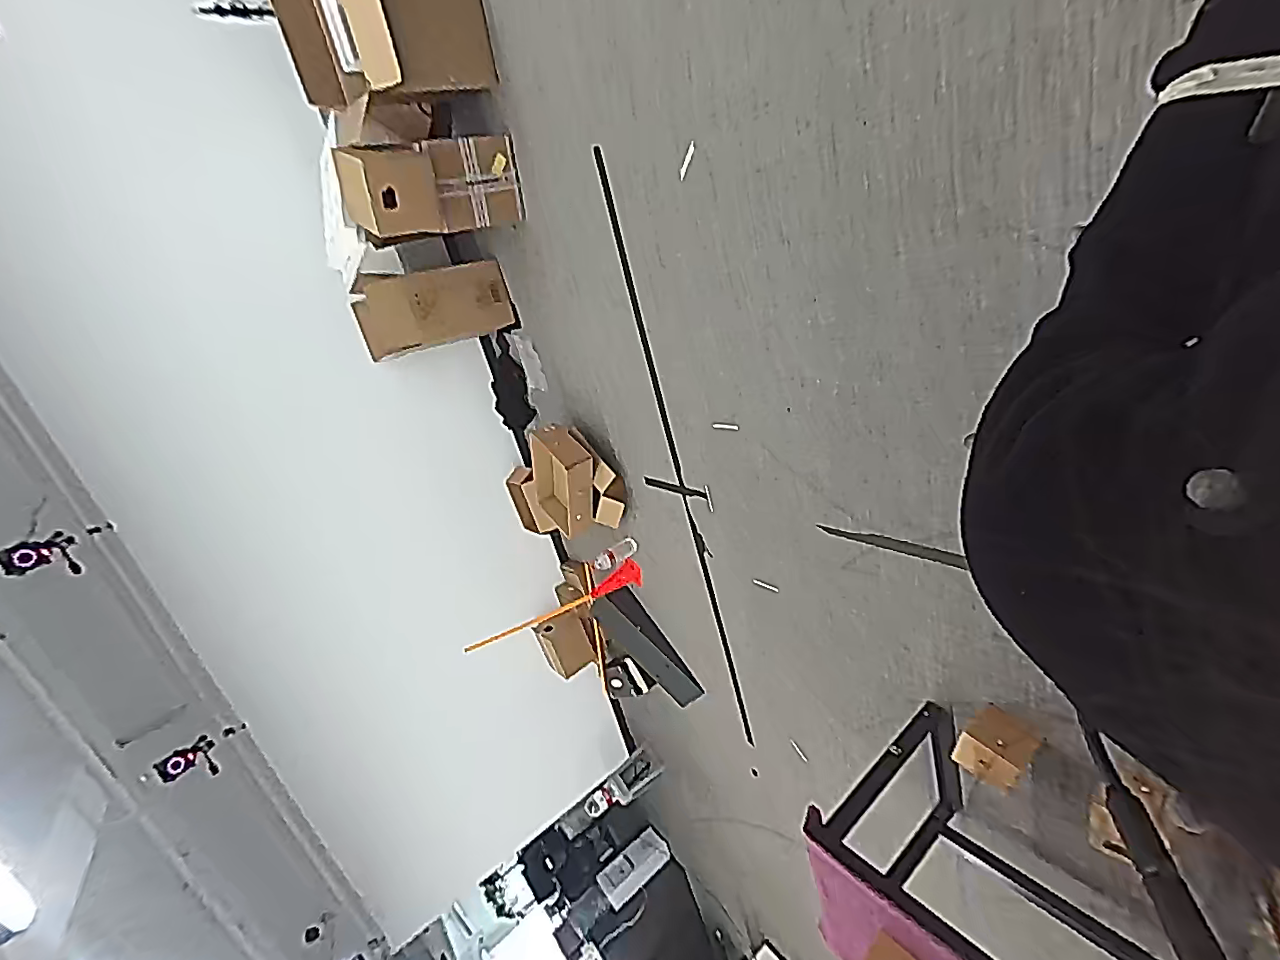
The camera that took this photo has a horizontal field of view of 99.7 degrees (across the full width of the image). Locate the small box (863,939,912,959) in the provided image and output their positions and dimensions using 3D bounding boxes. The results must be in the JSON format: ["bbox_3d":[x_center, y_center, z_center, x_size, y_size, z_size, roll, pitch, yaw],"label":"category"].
[{"bbox_3d":[0.700,1.412,1.472,0.179,0.176,0.168,15,127,52],"label":"small box"}]

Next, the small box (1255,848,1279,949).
[{"bbox_3d":[1.569,1.001,1.243,0.168,0.176,0.179,15,127,53],"label":"small box"}]

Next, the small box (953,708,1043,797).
[{"bbox_3d":[1.176,0.884,1.779,0.179,0.176,0.168,31,138,41],"label":"small box"}]

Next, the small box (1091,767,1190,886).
[{"bbox_3d":[1.384,0.949,1.495,0.168,0.176,0.179,12,123,54],"label":"small box"}]
